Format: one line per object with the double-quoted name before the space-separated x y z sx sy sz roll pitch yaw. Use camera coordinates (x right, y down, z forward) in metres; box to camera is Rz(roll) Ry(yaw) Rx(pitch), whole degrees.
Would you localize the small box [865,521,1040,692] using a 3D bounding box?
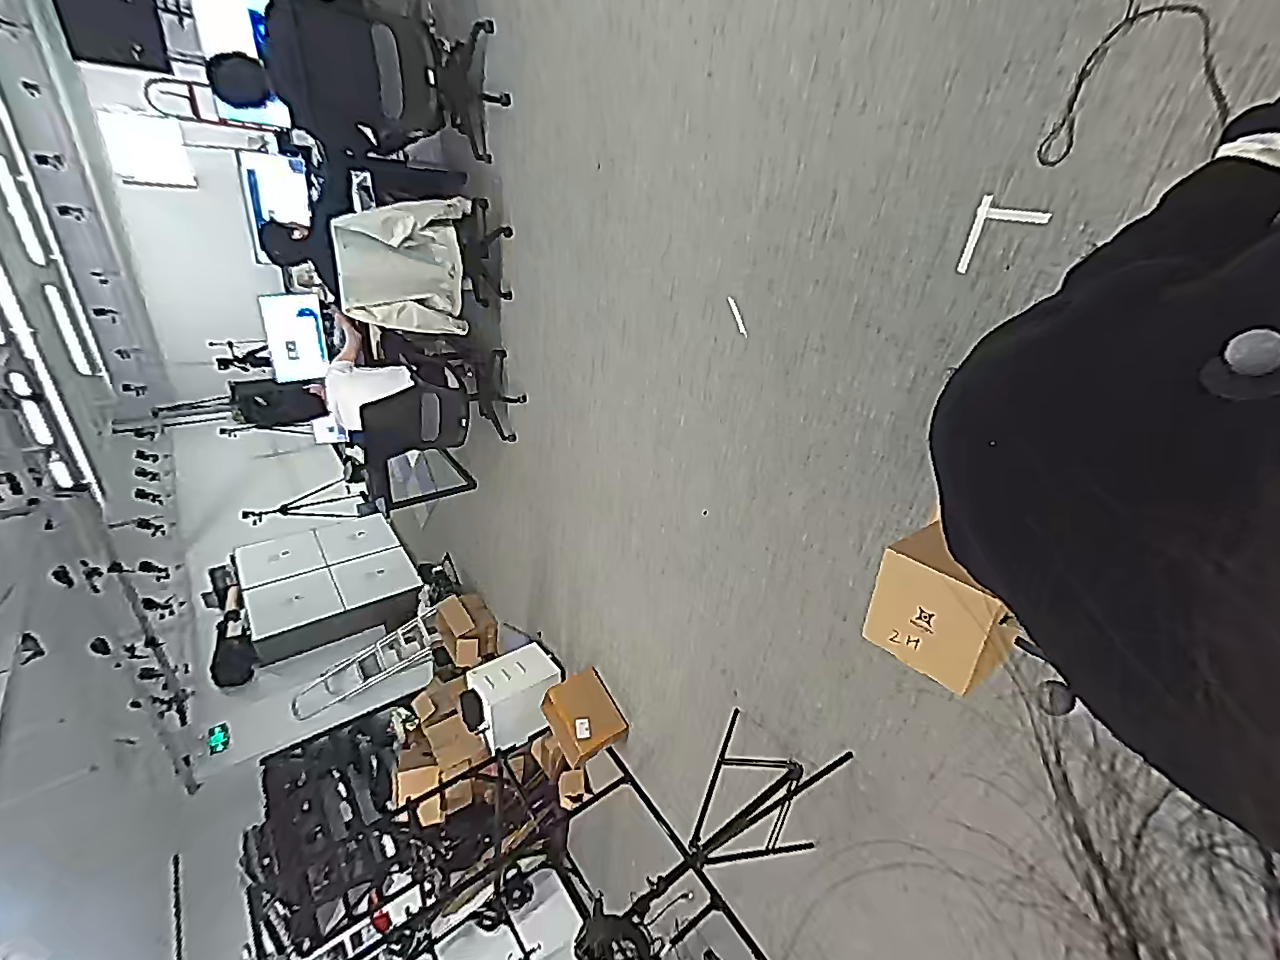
"small box" 0.489 0.185 0.848 0.168 0.176 0.179 31 126 46
